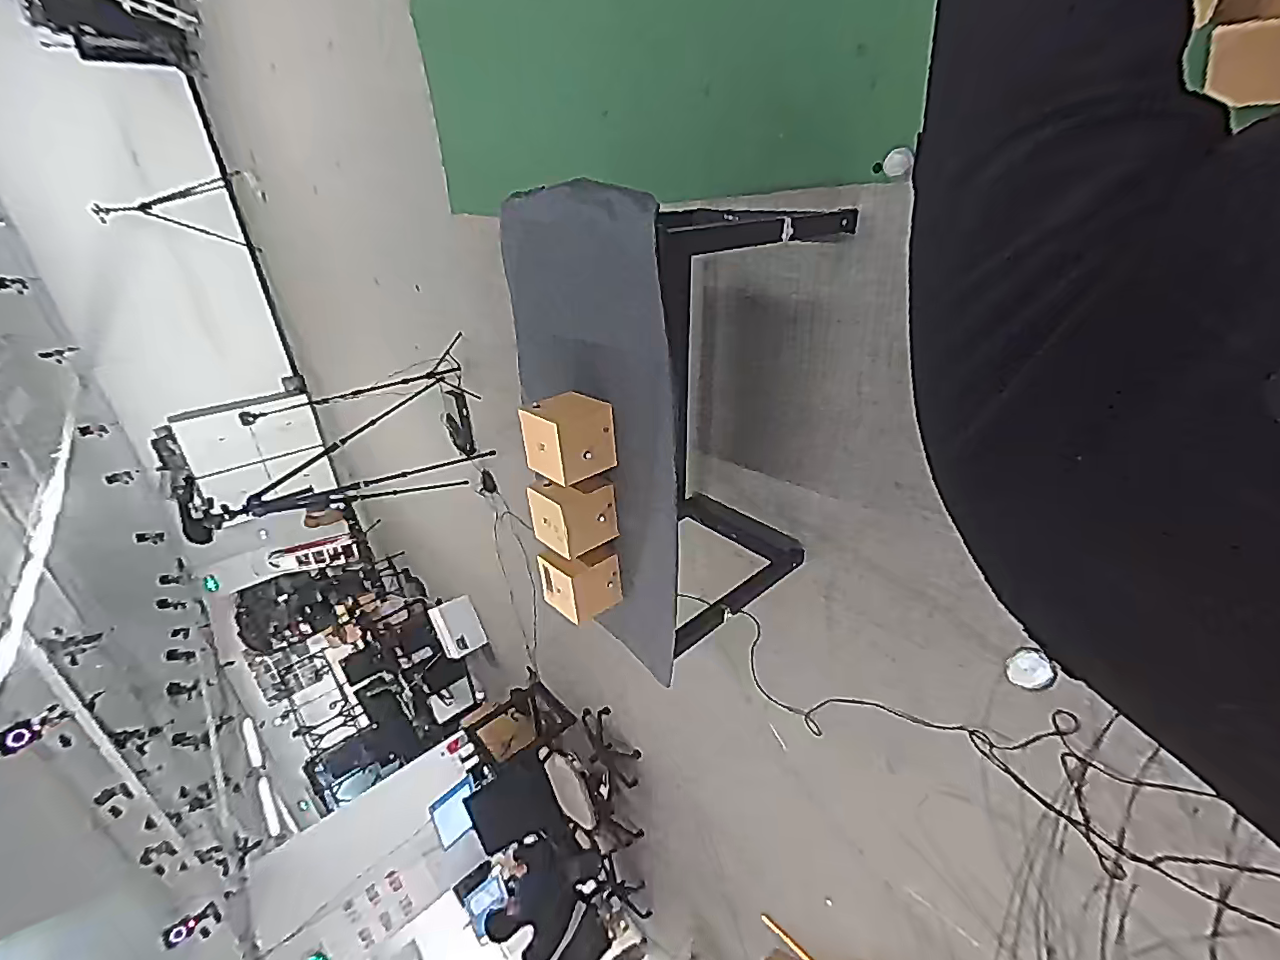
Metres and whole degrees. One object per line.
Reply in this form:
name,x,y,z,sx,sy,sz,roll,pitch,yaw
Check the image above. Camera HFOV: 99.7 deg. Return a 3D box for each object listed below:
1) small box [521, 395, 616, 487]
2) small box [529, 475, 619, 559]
small box,-0.173,-0.107,1.361,0.179,0.176,0.168,24,128,45
small box,-0.178,0.085,1.476,0.179,0.176,0.168,23,127,44
